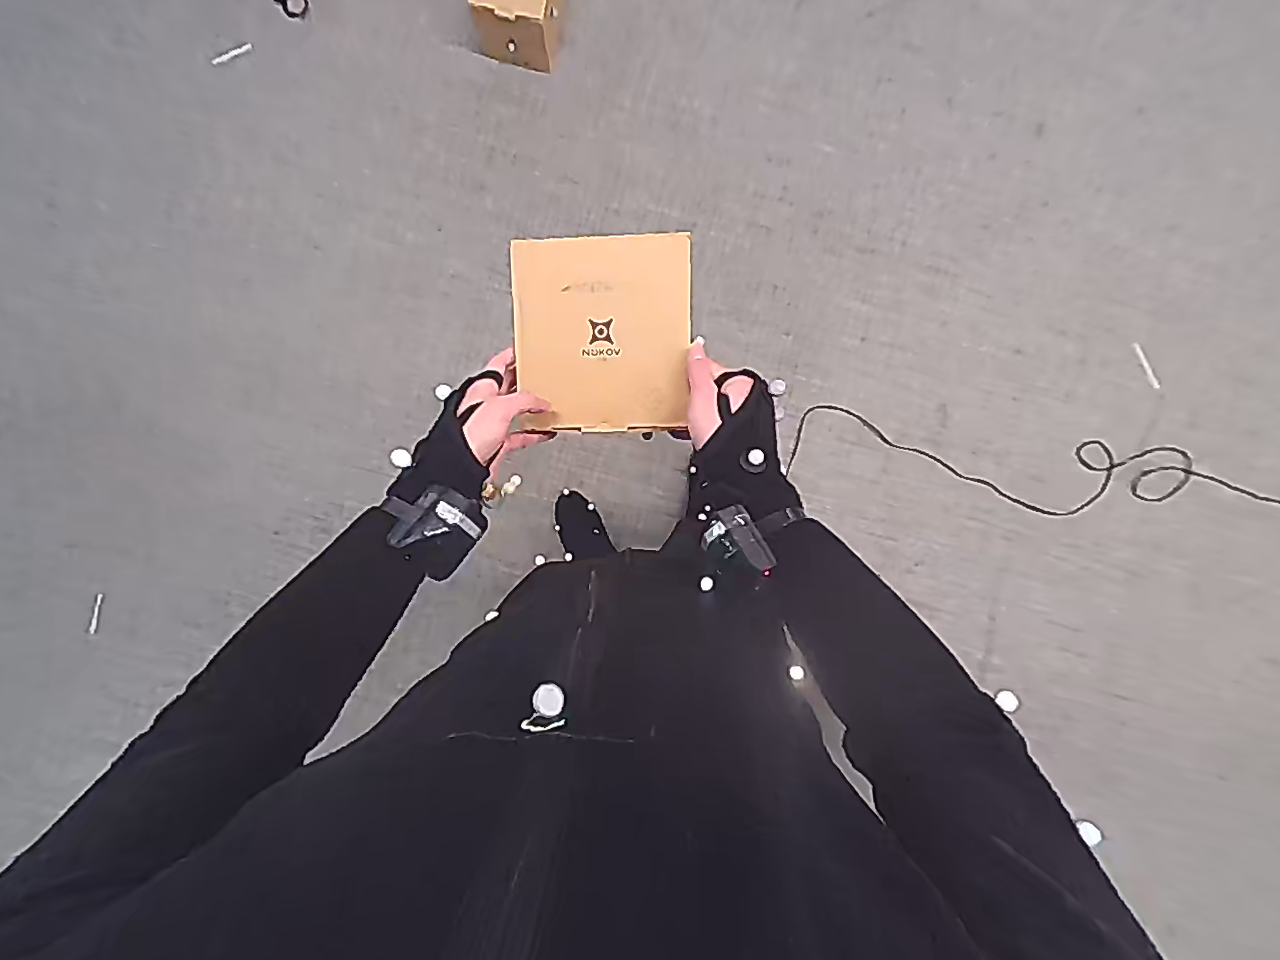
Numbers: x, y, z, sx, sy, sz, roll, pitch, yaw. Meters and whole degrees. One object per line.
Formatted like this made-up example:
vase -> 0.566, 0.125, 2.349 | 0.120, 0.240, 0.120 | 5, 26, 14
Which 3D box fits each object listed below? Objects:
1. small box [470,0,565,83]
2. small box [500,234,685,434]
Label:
small box -> -0.273, -1.063, 1.243 | 0.168, 0.176, 0.179 | 11, 95, -2
small box -> -0.037, -0.144, 0.579 | 0.168, 0.176, 0.179 | -1, 97, 6
